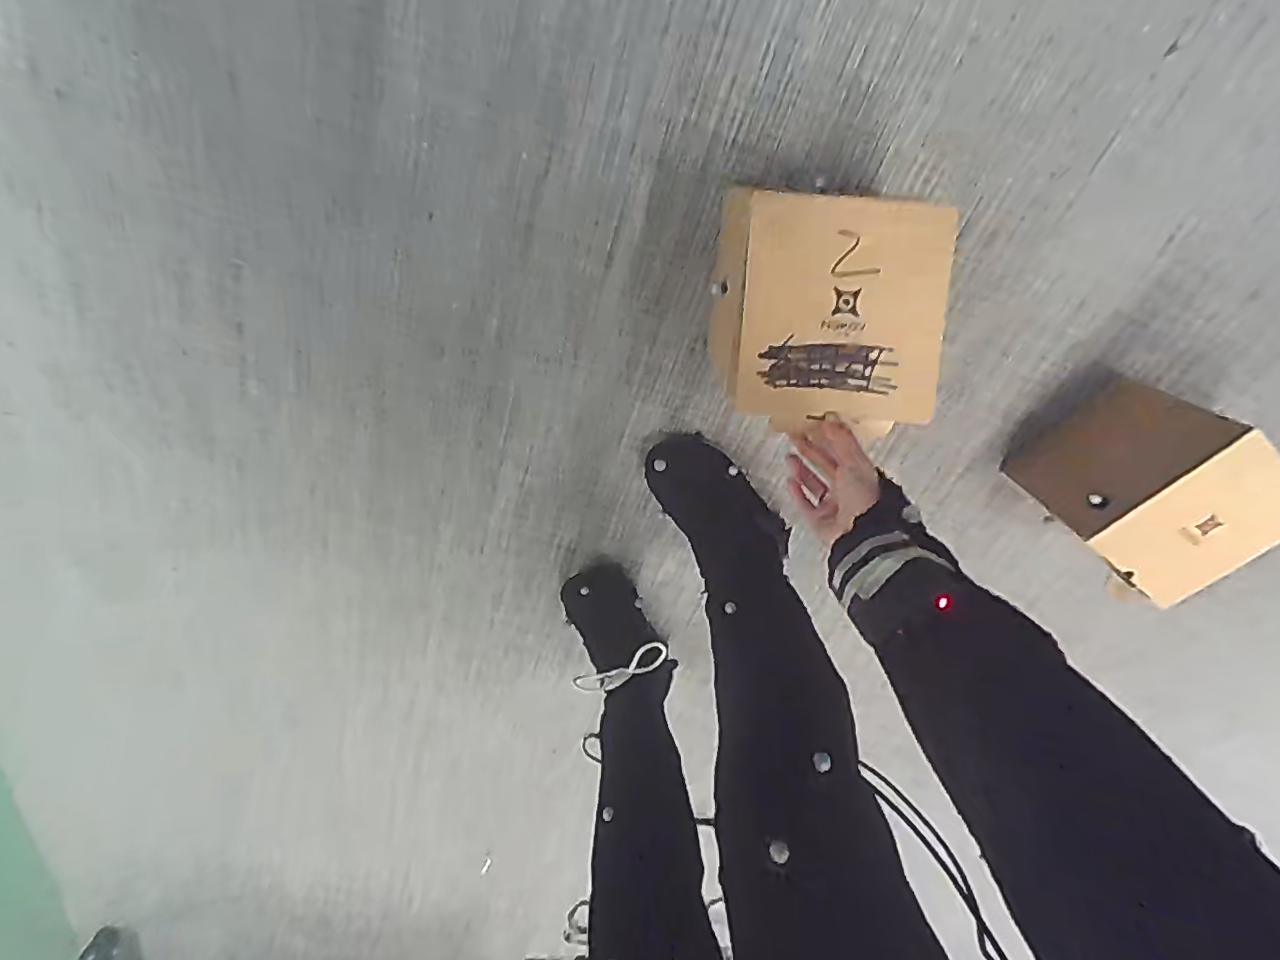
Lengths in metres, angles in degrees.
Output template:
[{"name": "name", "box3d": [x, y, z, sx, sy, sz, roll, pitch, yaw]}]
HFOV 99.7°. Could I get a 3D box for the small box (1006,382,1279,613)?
[{"name": "small box", "box3d": [0.592, 0.014, 0.637, 0.168, 0.176, 0.179, 34, 115, -17]}]
